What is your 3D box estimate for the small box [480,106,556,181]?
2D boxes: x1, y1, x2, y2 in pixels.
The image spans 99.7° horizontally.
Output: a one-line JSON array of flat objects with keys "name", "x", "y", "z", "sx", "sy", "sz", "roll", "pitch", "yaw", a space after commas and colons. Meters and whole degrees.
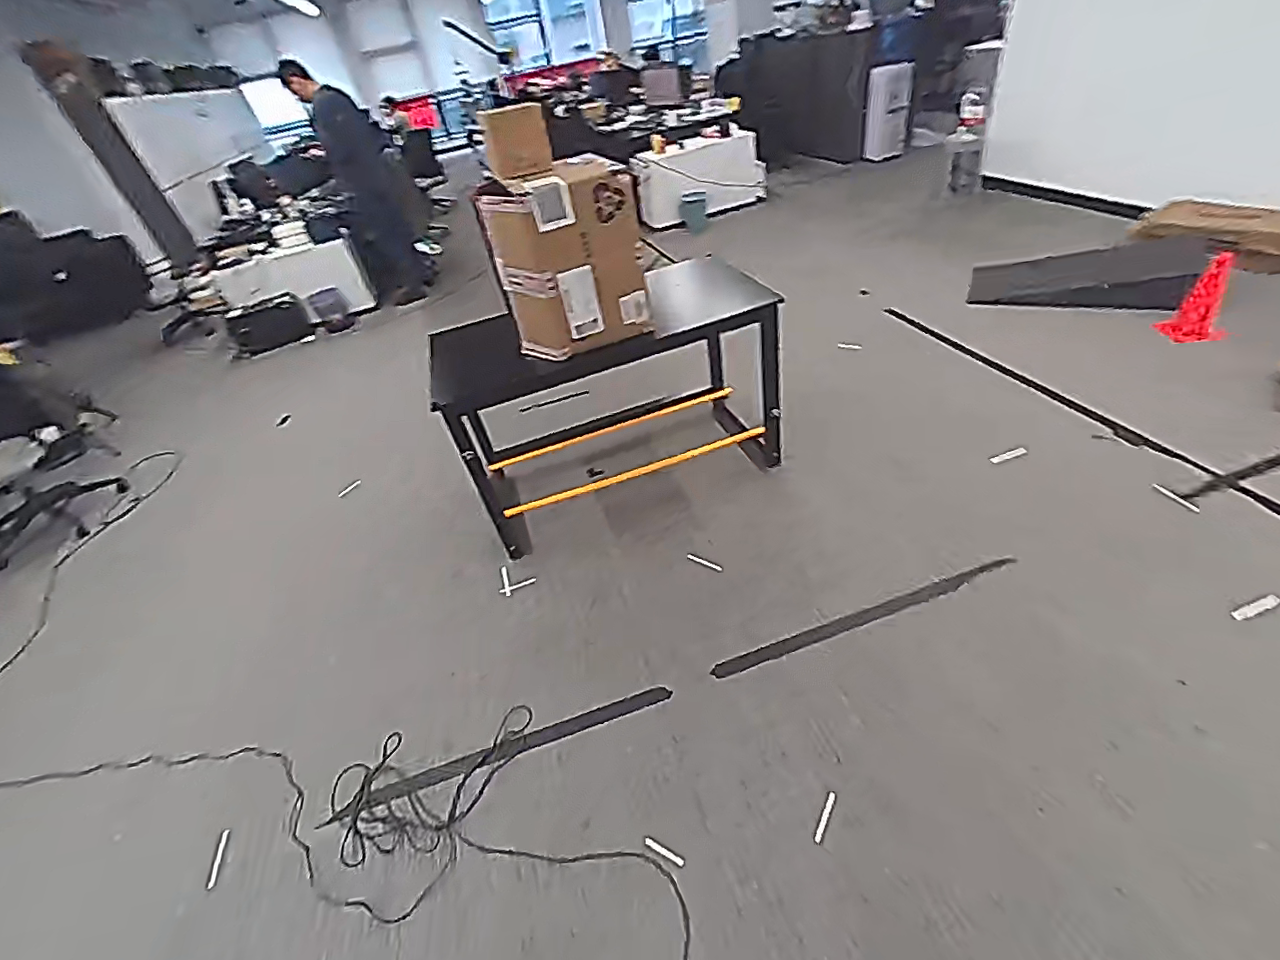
[{"name": "small box", "x": -0.370, "y": -1.017, "z": 1.639, "sx": 0.168, "sy": 0.176, "sz": 0.179, "roll": -21, "pitch": 38, "yaw": -13}]
